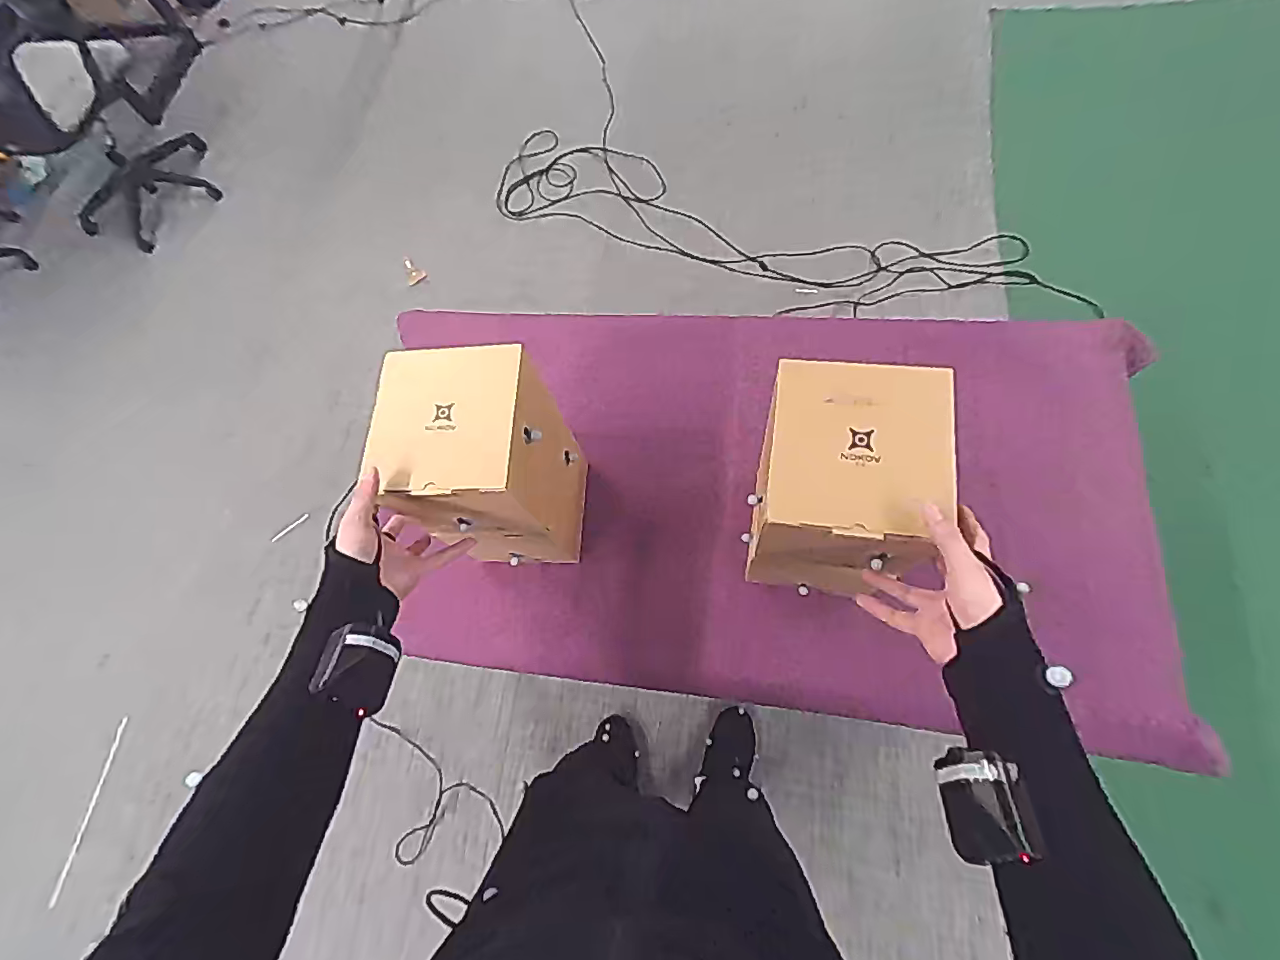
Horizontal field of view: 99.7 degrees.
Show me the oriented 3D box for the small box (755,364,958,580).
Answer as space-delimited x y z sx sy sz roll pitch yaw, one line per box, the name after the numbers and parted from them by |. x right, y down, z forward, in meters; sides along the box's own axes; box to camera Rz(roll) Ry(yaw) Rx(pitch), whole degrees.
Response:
0.216 0.001 0.574 0.168 0.176 0.179 7 70 10 | small box

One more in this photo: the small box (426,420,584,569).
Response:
-0.184 0.025 0.799 0.168 0.176 0.179 1 69 9 | small box

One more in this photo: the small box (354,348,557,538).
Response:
-0.202 -0.036 0.649 0.168 0.176 0.179 -1 69 7 | small box
